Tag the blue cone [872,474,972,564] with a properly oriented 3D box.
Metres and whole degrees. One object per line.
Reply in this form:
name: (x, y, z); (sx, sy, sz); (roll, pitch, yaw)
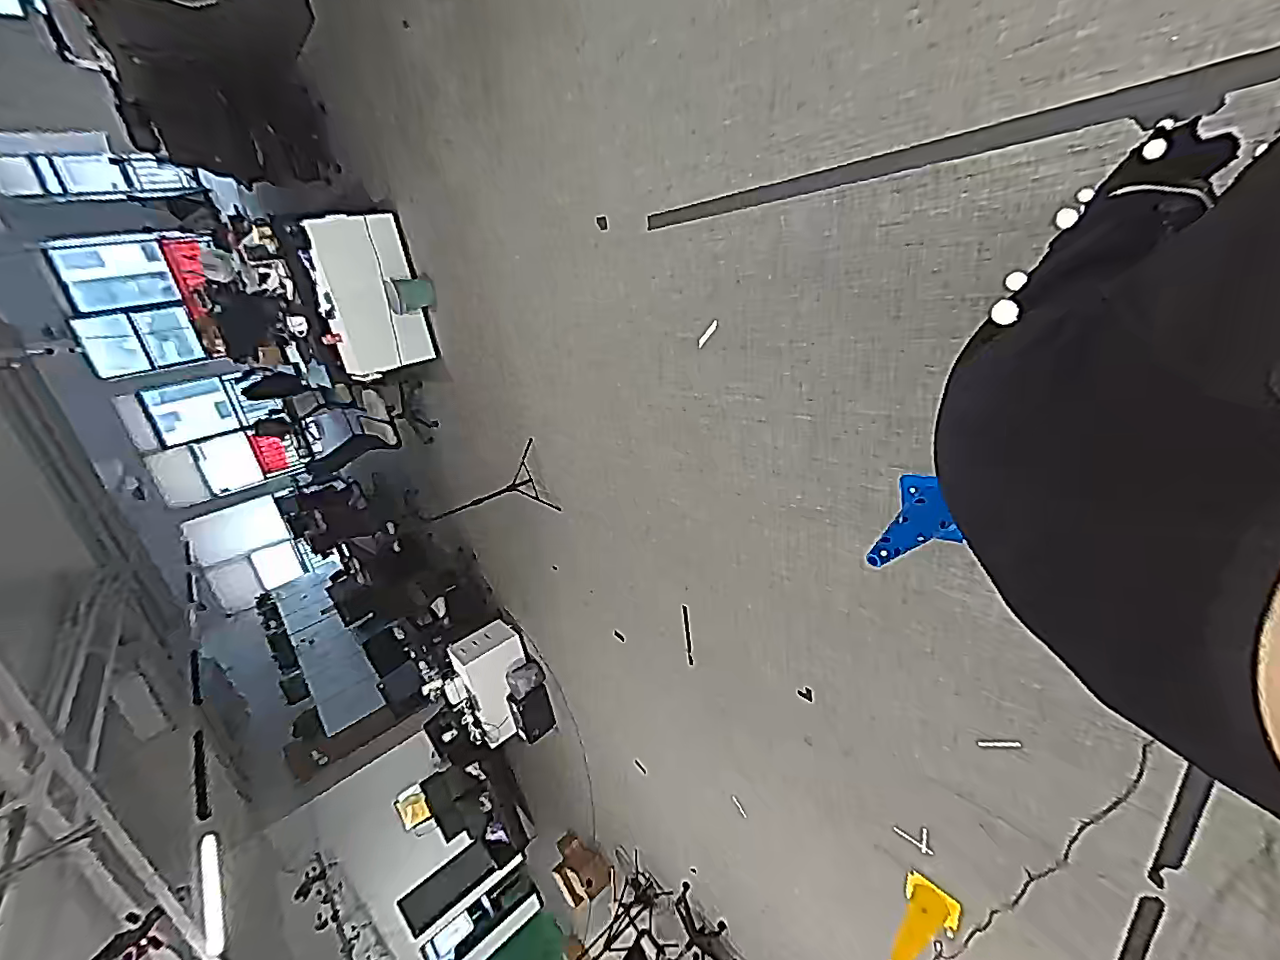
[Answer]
blue cone: (0.735, 0.131, 1.473); (0.192, 0.380, 0.193); (11, 119, 50)
